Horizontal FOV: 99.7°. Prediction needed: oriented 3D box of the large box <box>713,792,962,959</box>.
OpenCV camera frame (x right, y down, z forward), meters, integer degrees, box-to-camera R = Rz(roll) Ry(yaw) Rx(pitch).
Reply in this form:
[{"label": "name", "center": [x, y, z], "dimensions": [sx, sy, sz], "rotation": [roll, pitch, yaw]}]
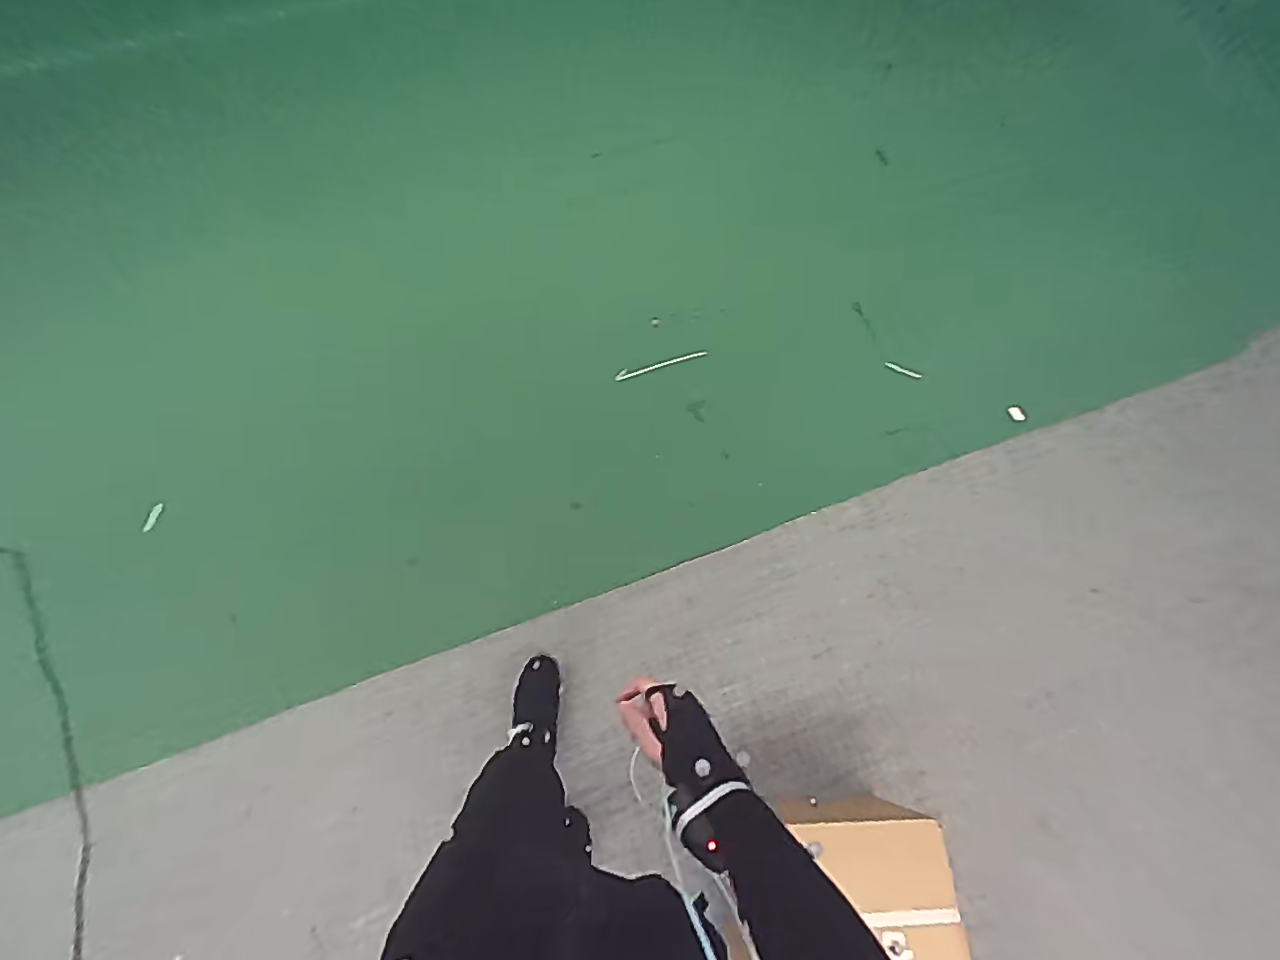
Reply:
[{"label": "large box", "center": [0.389, 0.871, 1.159], "dimensions": [0.408, 0.320, 0.320], "rotation": [-1, 68, -2]}]
